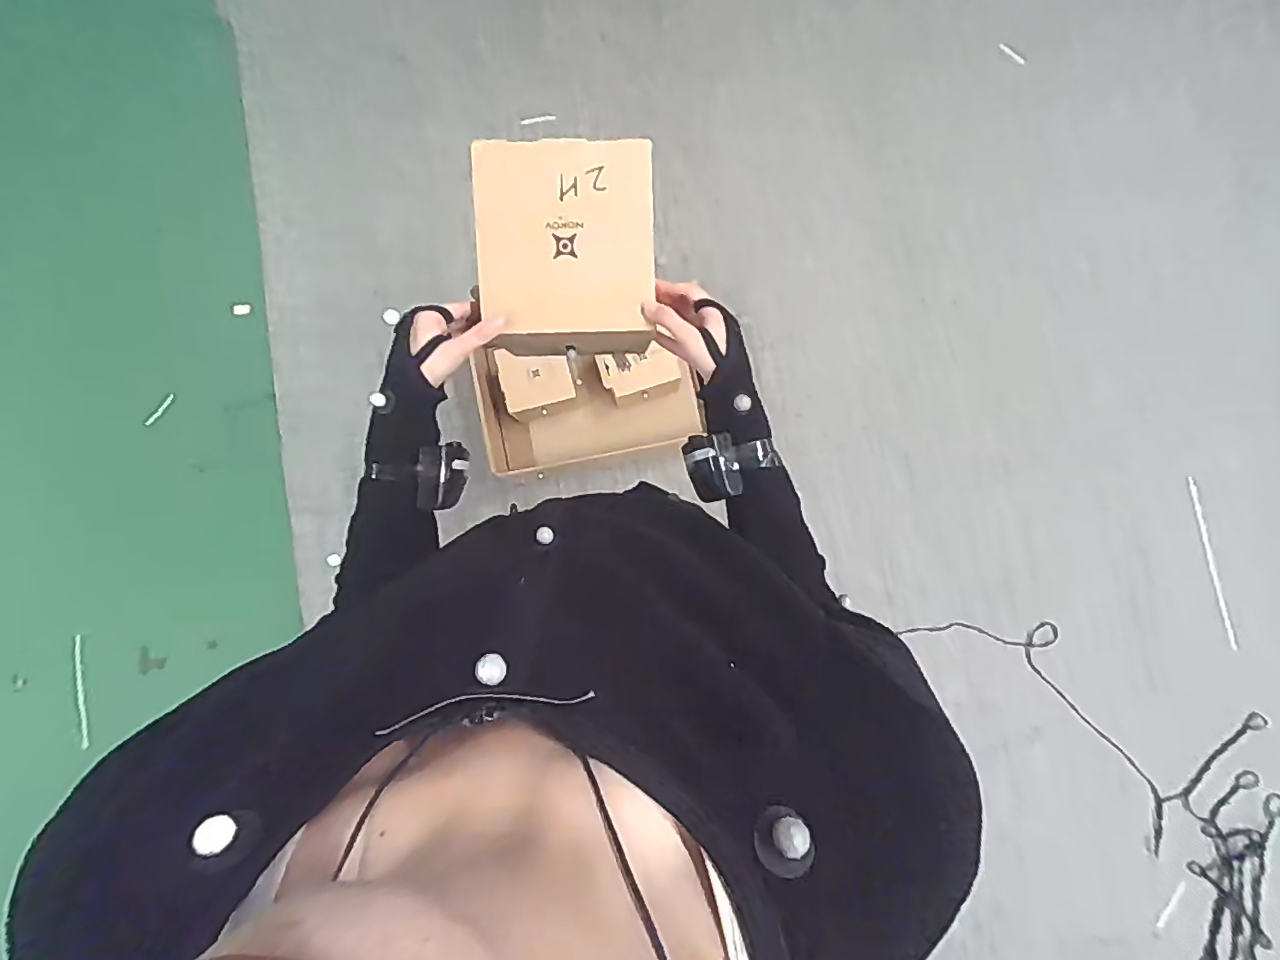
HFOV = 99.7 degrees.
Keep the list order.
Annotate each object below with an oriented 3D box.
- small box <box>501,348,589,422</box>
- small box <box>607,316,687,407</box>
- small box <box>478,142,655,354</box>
[{"bbox_3d":[-0.245,-0.260,1.431,0.179,0.176,0.168,-14,88,0],"label":"small box"},{"bbox_3d":[0.017,-0.303,1.424,0.179,0.176,0.168,-18,87,1],"label":"small box"},{"bbox_3d":[-0.069,-0.232,0.585,0.168,0.176,0.179,-2,95,-3],"label":"small box"}]
